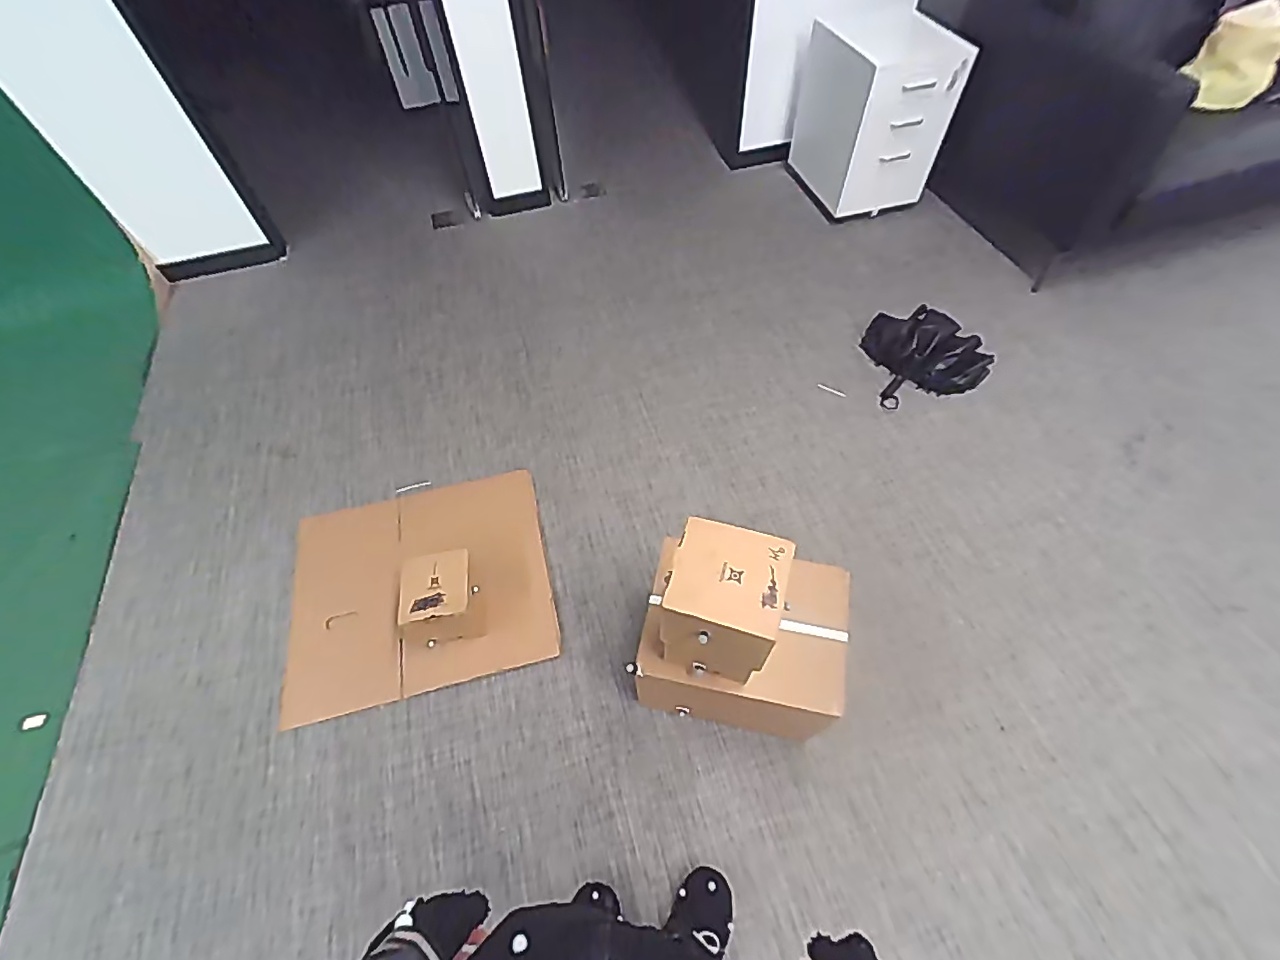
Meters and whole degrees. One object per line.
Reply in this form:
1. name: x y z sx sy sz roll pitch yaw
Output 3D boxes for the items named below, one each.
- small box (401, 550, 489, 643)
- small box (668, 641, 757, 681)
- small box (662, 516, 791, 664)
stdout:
1. small box: -0.491 0.305 1.385 0.168 0.176 0.179 -10 54 -3
2. small box: 0.148 0.262 1.036 0.168 0.176 0.179 10 59 11
3. small box: 0.139 0.186 0.893 0.179 0.176 0.168 11 56 10
